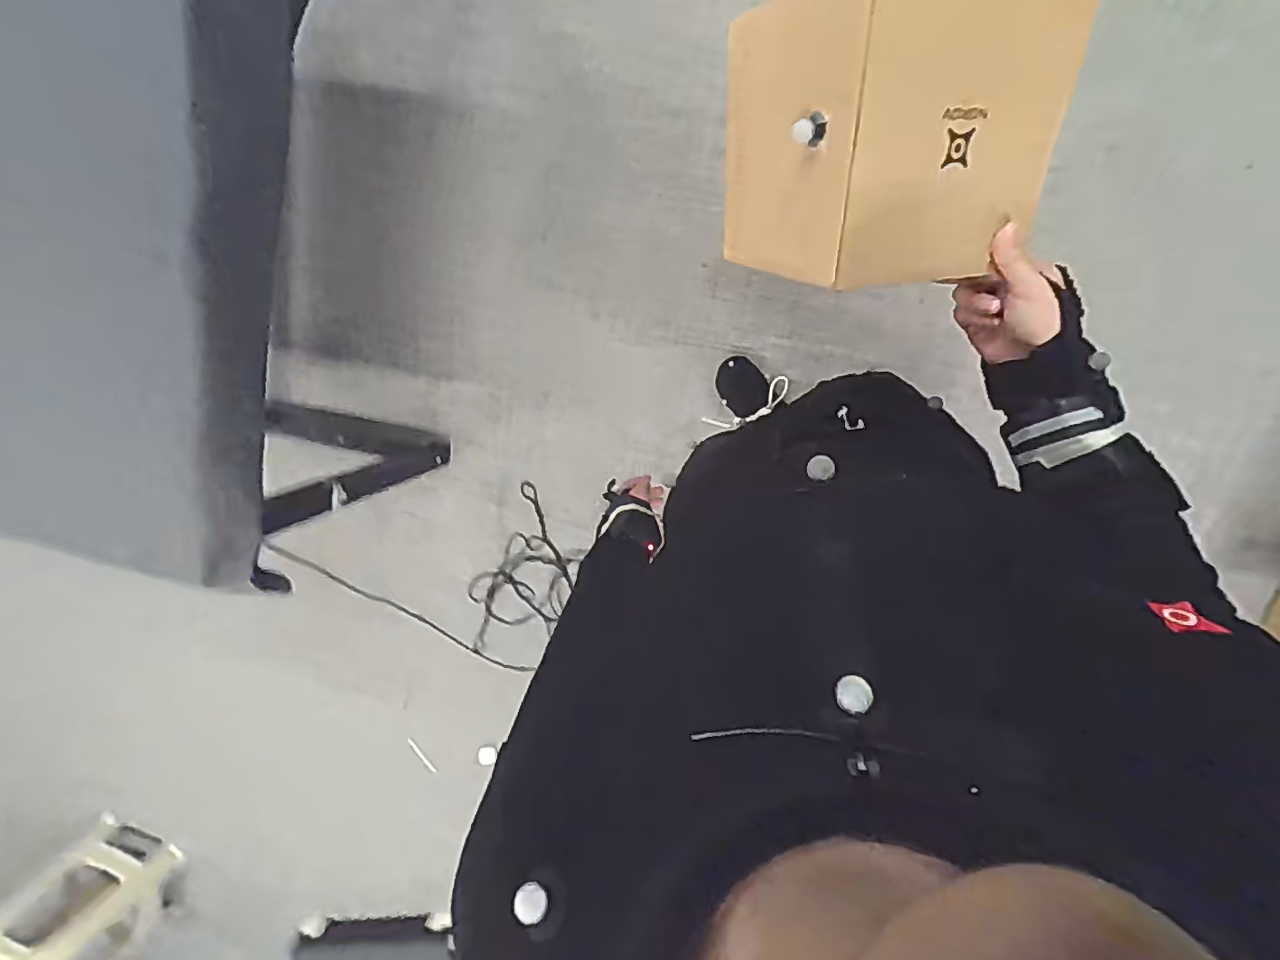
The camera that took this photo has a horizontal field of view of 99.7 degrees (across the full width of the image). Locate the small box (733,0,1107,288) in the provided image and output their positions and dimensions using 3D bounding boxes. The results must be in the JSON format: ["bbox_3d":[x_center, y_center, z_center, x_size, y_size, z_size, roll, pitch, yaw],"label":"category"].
[{"bbox_3d":[0.180,-0.254,0.405,0.168,0.176,0.179,-11,120,-14],"label":"small box"}]
